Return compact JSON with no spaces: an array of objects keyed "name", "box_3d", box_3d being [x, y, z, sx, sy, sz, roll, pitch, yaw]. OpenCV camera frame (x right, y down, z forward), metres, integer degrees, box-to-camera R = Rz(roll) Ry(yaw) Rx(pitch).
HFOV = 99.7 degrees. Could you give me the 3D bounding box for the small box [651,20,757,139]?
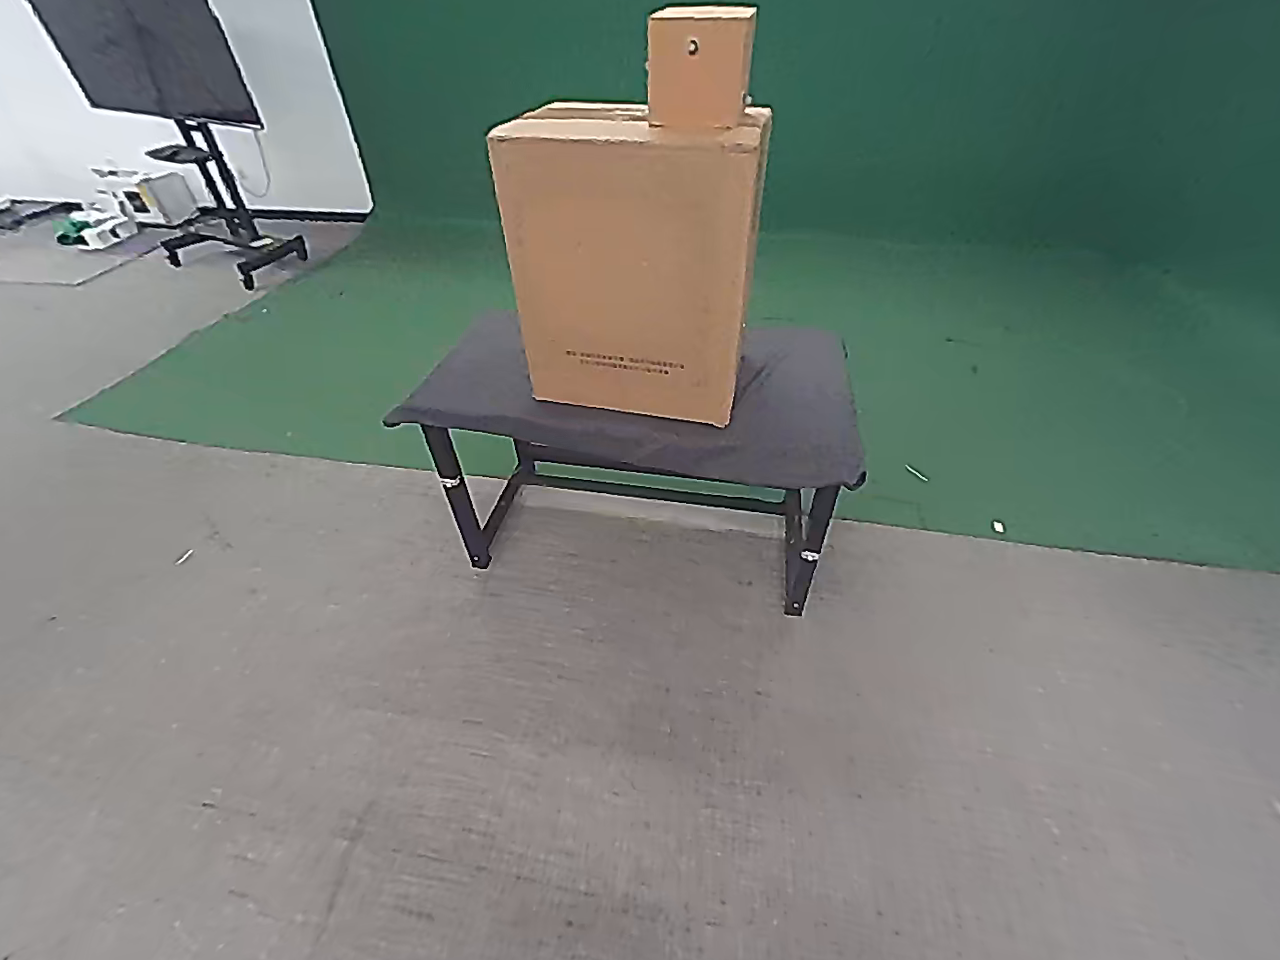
[{"name":"small box","box_3d":[0.122,-0.784,1.059,0.179,0.176,0.168,10,46,9]}]
